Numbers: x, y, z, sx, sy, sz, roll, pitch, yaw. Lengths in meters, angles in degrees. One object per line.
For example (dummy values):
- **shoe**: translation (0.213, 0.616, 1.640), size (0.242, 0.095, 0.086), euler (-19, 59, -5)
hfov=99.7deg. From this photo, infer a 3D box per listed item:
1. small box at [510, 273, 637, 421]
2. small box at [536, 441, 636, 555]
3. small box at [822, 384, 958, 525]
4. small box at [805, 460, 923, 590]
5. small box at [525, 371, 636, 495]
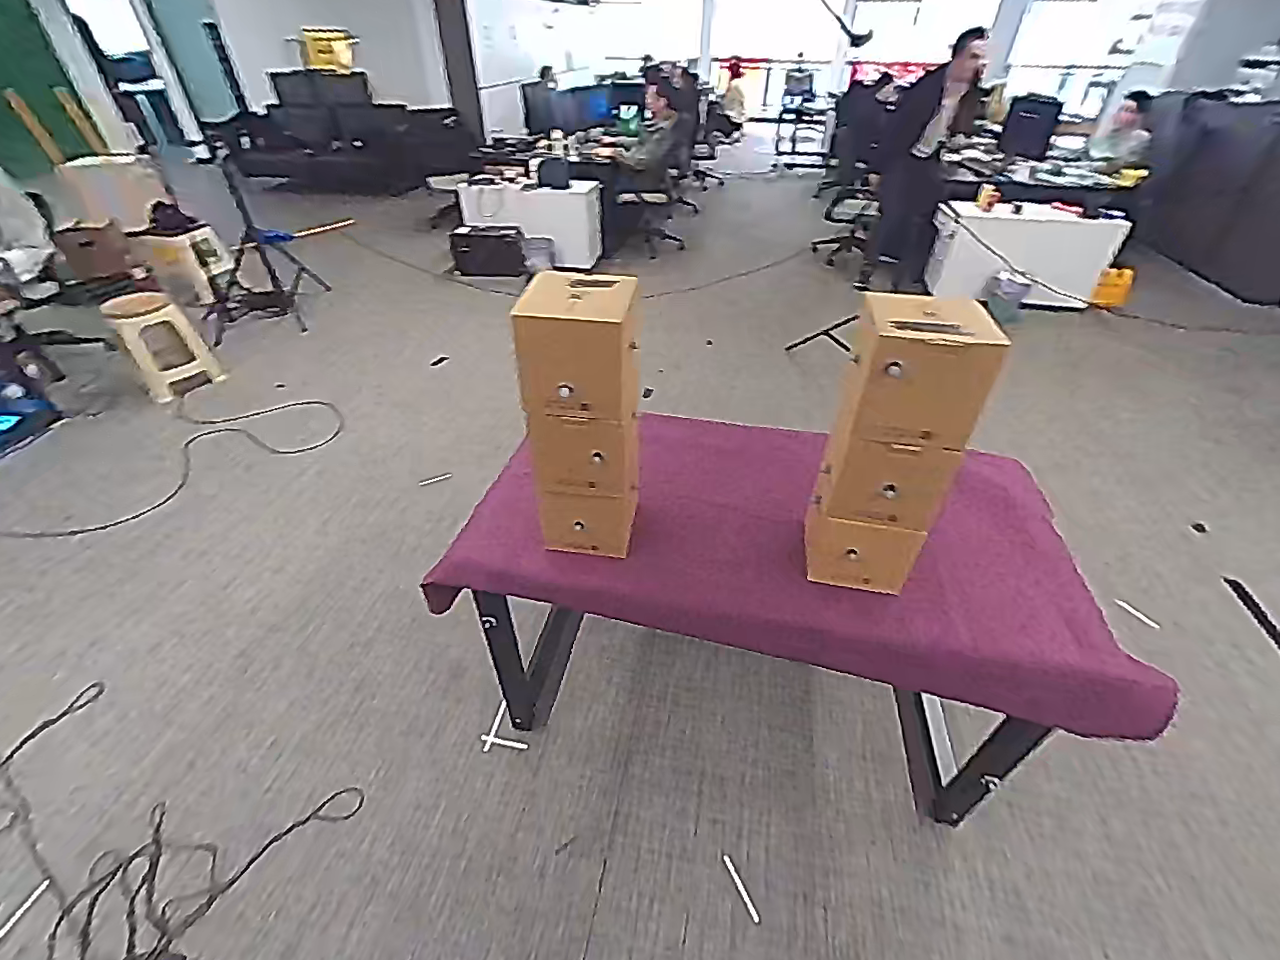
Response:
- **small box**: translation (-0.098, -0.217, 0.875), size (0.168, 0.176, 0.179), euler (5, 41, 4)
- **small box**: translation (-0.099, 0.030, 1.089), size (0.168, 0.176, 0.179), euler (6, 39, 5)
- **small box**: translation (0.416, -0.044, 0.932), size (0.168, 0.176, 0.179), euler (8, 40, 10)
- **small box**: translation (0.415, 0.086, 1.032), size (0.168, 0.176, 0.179), euler (8, 39, 9)
- **small box**: translation (-0.098, -0.090, 0.980), size (0.168, 0.176, 0.179), euler (5, 39, 4)
